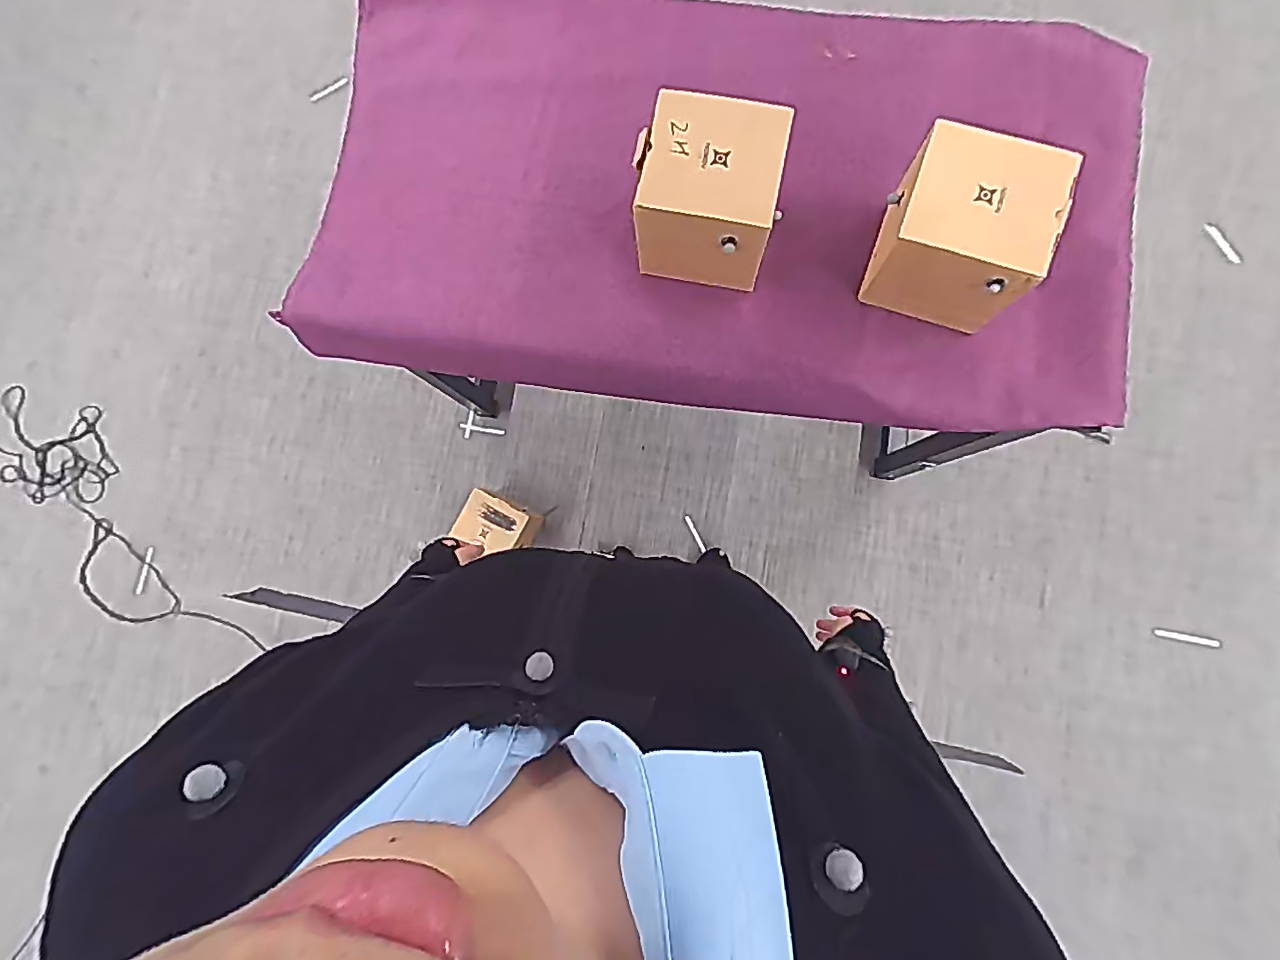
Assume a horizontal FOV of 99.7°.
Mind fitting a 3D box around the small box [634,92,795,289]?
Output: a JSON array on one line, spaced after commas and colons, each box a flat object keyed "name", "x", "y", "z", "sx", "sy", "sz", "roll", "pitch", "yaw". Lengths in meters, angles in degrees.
[{"name": "small box", "x": 0.099, "y": -0.389, "z": 0.754, "sx": 0.179, "sy": 0.176, "sz": 0.168, "roll": 12, "pitch": 83, "yaw": 6}]

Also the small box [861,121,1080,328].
[{"name": "small box", "x": 0.422, "y": -0.327, "z": 0.722, "sx": 0.179, "sy": 0.176, "sz": 0.168, "roll": 19, "pitch": 84, "yaw": 6}]
